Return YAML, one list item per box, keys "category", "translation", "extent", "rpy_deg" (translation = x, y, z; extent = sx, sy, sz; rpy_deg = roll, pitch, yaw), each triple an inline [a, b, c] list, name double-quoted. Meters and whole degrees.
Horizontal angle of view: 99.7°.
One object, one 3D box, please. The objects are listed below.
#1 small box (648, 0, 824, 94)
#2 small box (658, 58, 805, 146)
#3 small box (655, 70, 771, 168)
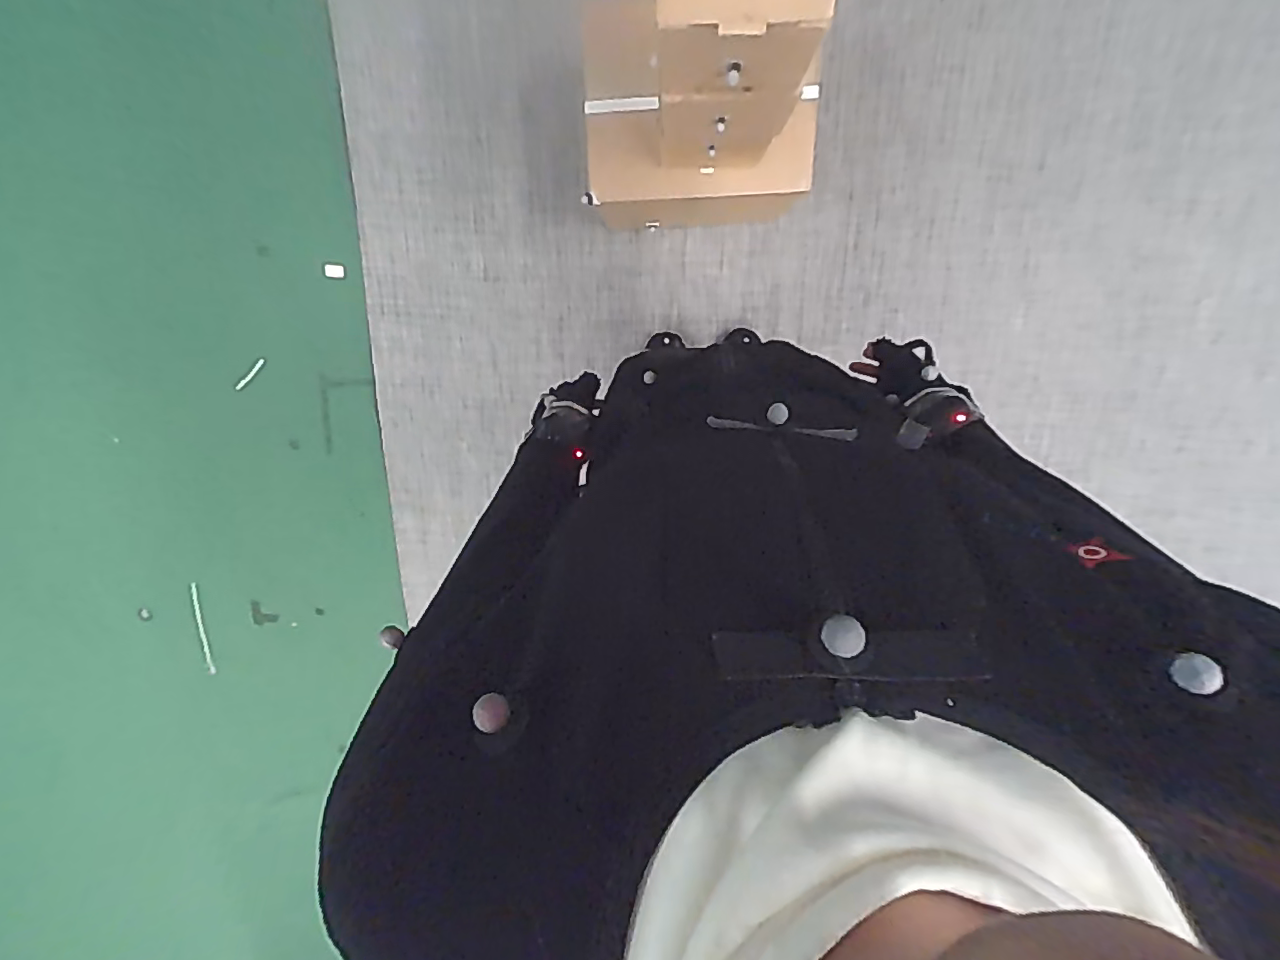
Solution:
- category: "small box"
  translation: [0.100, -0.527, 0.558]
  extent: [0.168, 0.176, 0.179]
  rpy_deg: [3, 108, 4]
- category: "small box"
  translation: [0.112, -0.564, 0.717]
  extent: [0.179, 0.176, 0.168]
  rpy_deg: [-3, 107, 4]
- category: "small box"
  translation: [0.116, -0.616, 0.873]
  extent: [0.179, 0.176, 0.168]
  rpy_deg: [1, 107, 3]
